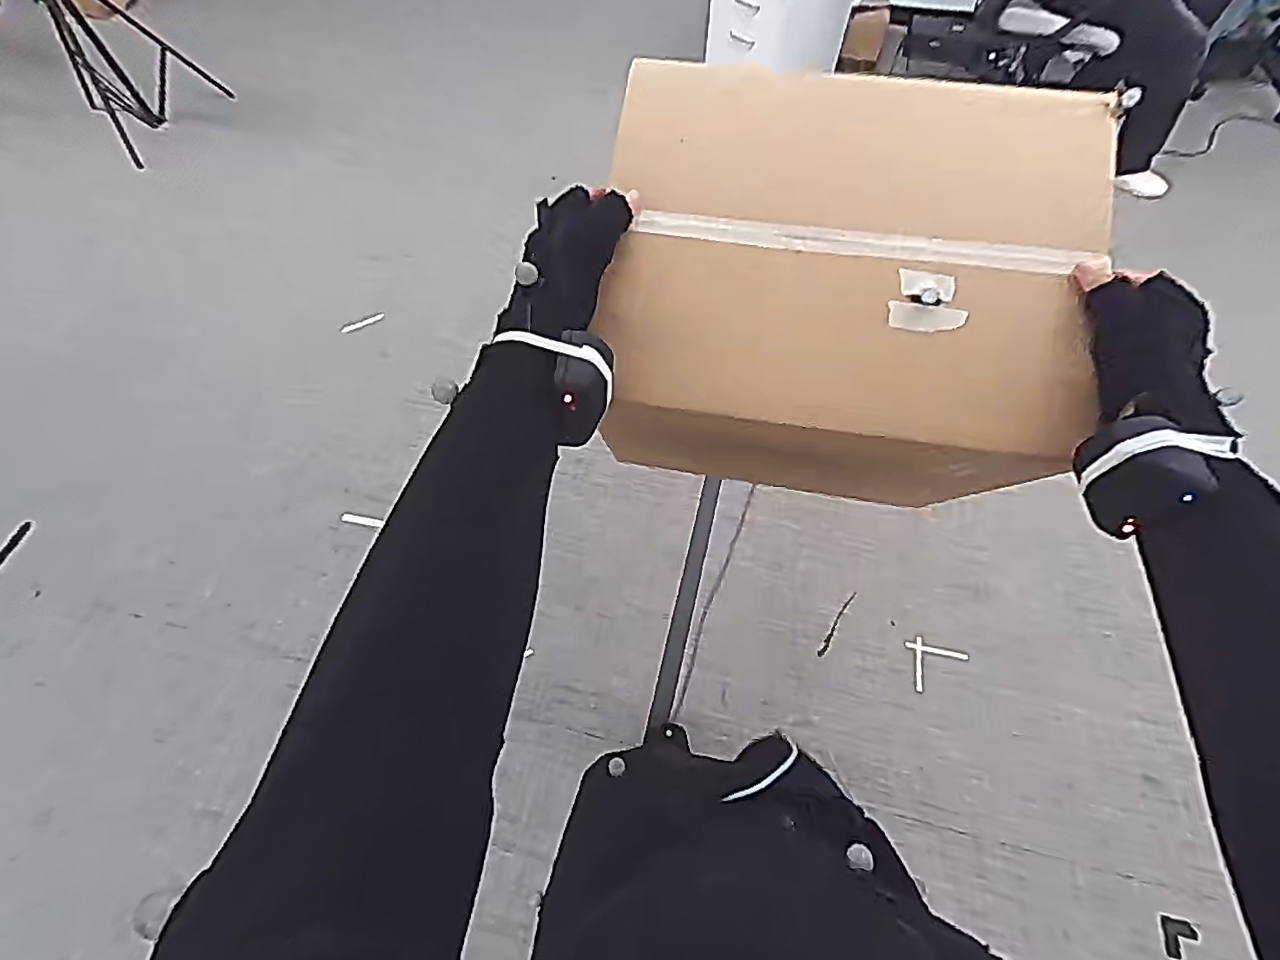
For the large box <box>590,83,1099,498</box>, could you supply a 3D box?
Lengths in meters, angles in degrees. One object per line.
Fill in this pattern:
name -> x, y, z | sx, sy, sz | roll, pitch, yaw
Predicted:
large box -> 0.183, -0.171, 0.606 | 0.408, 0.320, 0.320 | 9, 84, 6
